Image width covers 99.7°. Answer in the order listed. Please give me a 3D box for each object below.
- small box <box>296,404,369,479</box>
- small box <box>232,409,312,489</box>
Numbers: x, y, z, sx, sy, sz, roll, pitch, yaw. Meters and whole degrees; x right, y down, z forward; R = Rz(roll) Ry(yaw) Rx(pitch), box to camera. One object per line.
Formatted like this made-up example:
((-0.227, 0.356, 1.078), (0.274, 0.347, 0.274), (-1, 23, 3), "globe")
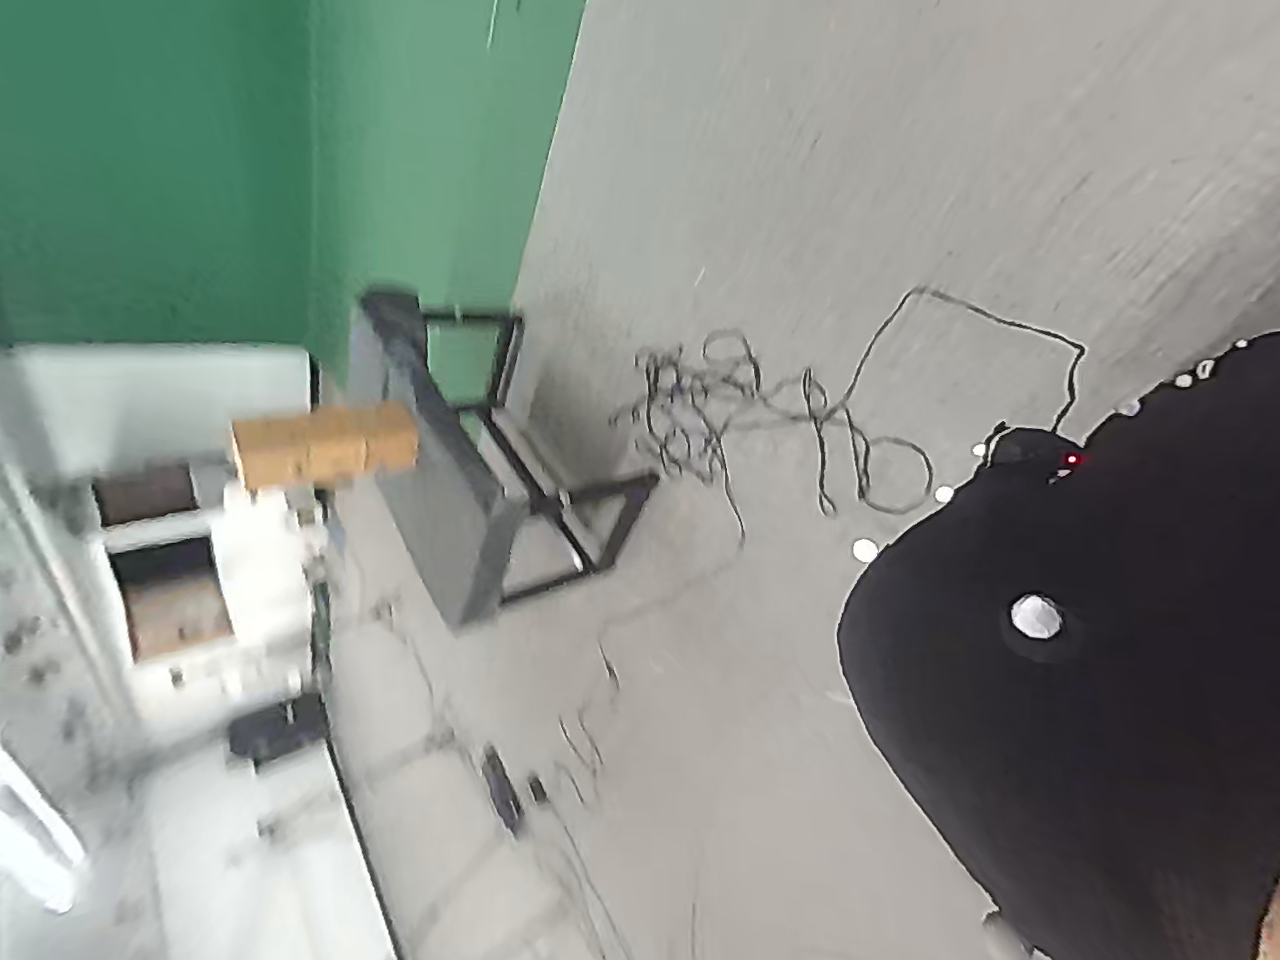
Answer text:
((-0.985, -0.131, 1.734), (0.179, 0.176, 0.168), (52, 134, 28), "small box")
((-1.108, -0.100, 1.632), (0.179, 0.176, 0.168), (52, 135, 27), "small box")
